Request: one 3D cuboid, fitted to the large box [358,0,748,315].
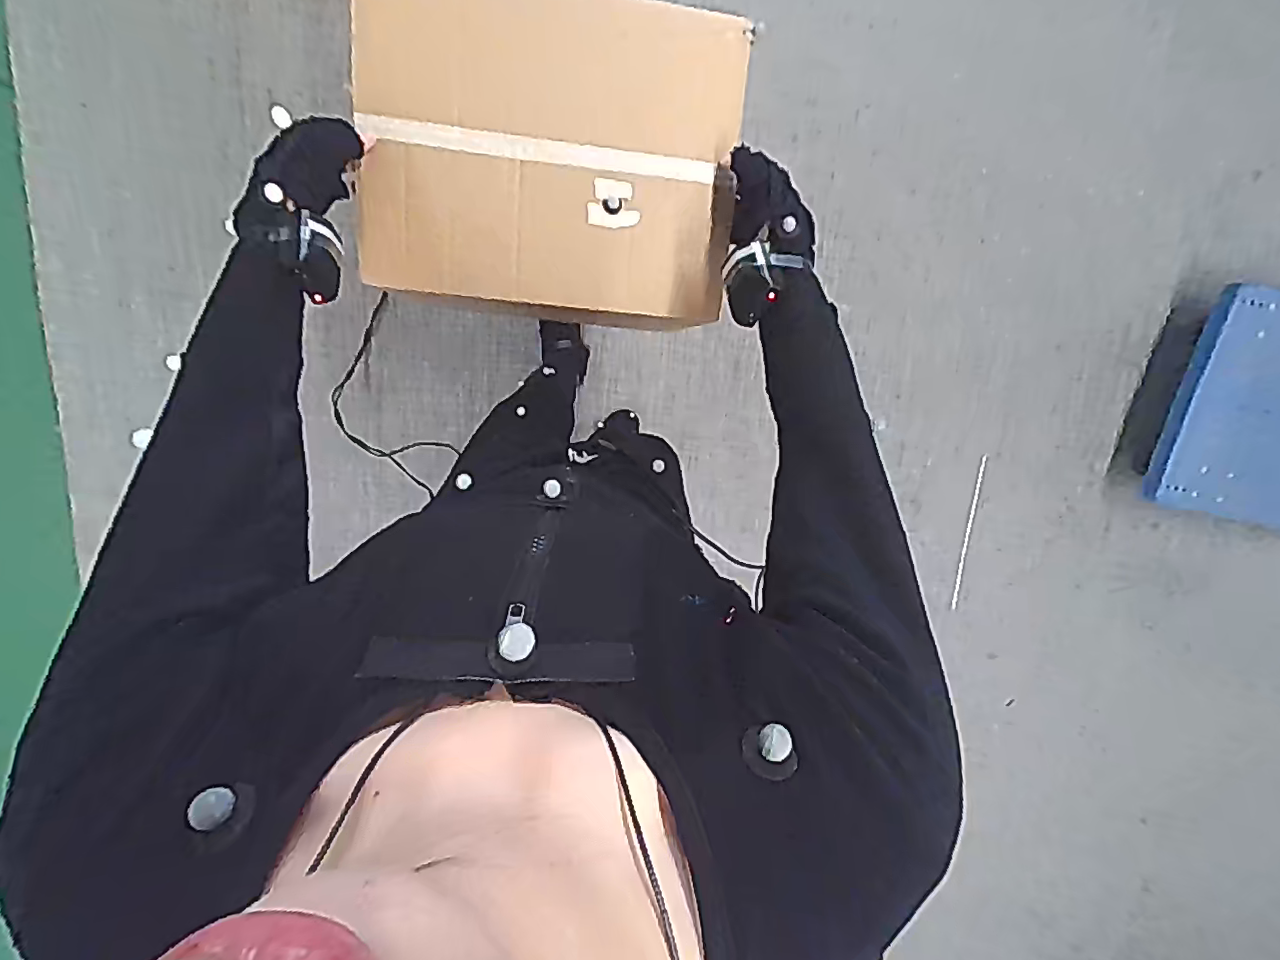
[{"bbox_3d":[-0.112,-0.404,0.725,0.408,0.320,0.320,3,104,-9],"label":"large box"}]
